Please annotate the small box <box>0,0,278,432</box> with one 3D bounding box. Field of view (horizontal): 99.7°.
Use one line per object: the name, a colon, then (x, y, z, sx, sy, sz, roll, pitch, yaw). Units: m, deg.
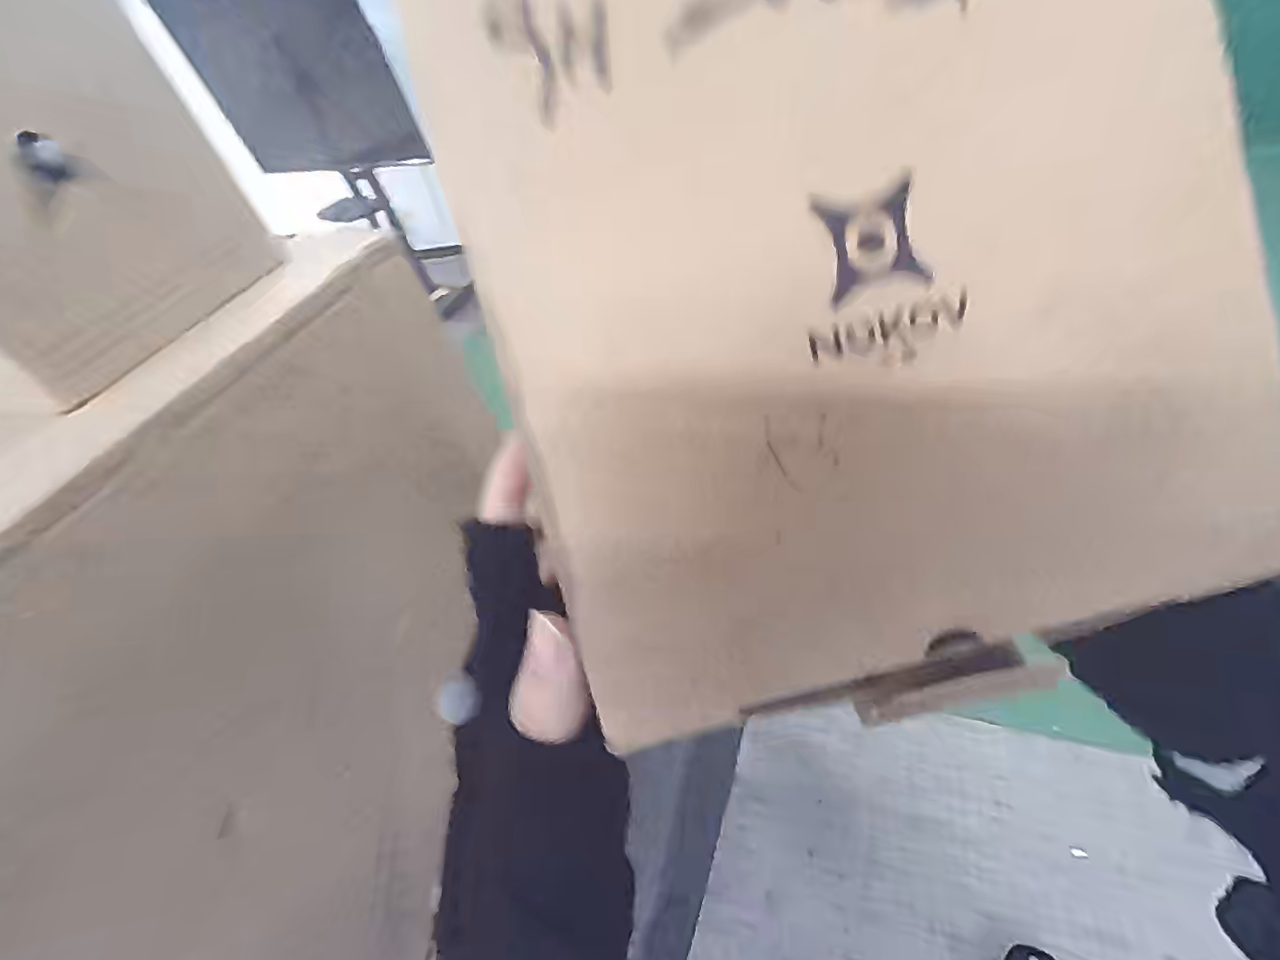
small box: (-0.354, -0.148, 0.305, 0.168, 0.176, 0.179, 2, 47, 17)
